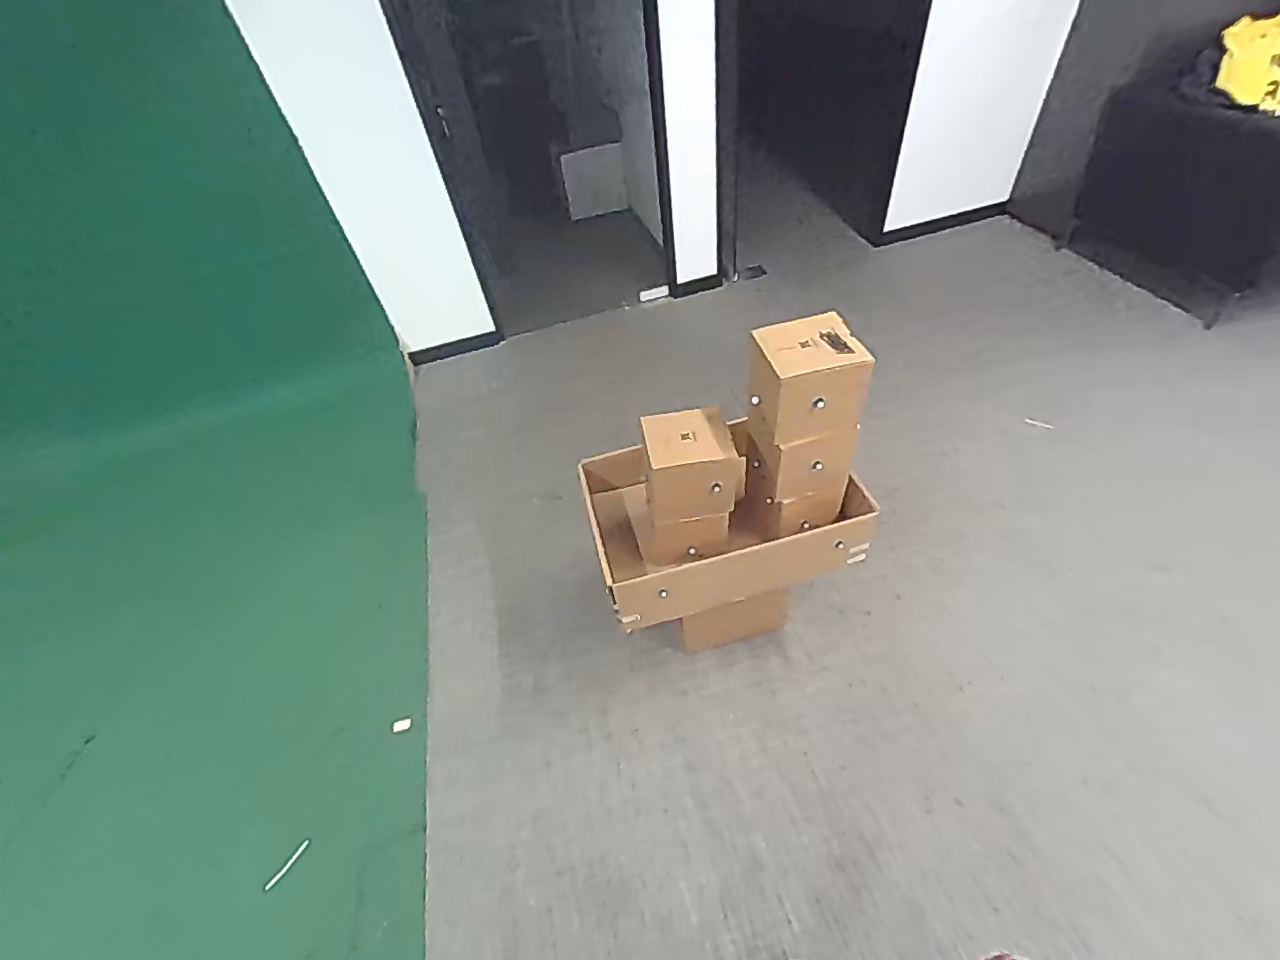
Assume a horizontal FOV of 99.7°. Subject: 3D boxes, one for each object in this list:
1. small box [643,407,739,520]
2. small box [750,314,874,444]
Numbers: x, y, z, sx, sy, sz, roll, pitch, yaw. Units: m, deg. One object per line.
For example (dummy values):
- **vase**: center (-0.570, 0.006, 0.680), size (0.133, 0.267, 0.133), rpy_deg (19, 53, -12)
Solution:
- **small box**: center (0.105, -0.033, 1.169), size (0.179, 0.176, 0.168), rpy_deg (-8, 46, -2)
- **small box**: center (0.324, -0.196, 1.060), size (0.179, 0.176, 0.168), rpy_deg (-13, 48, -2)
